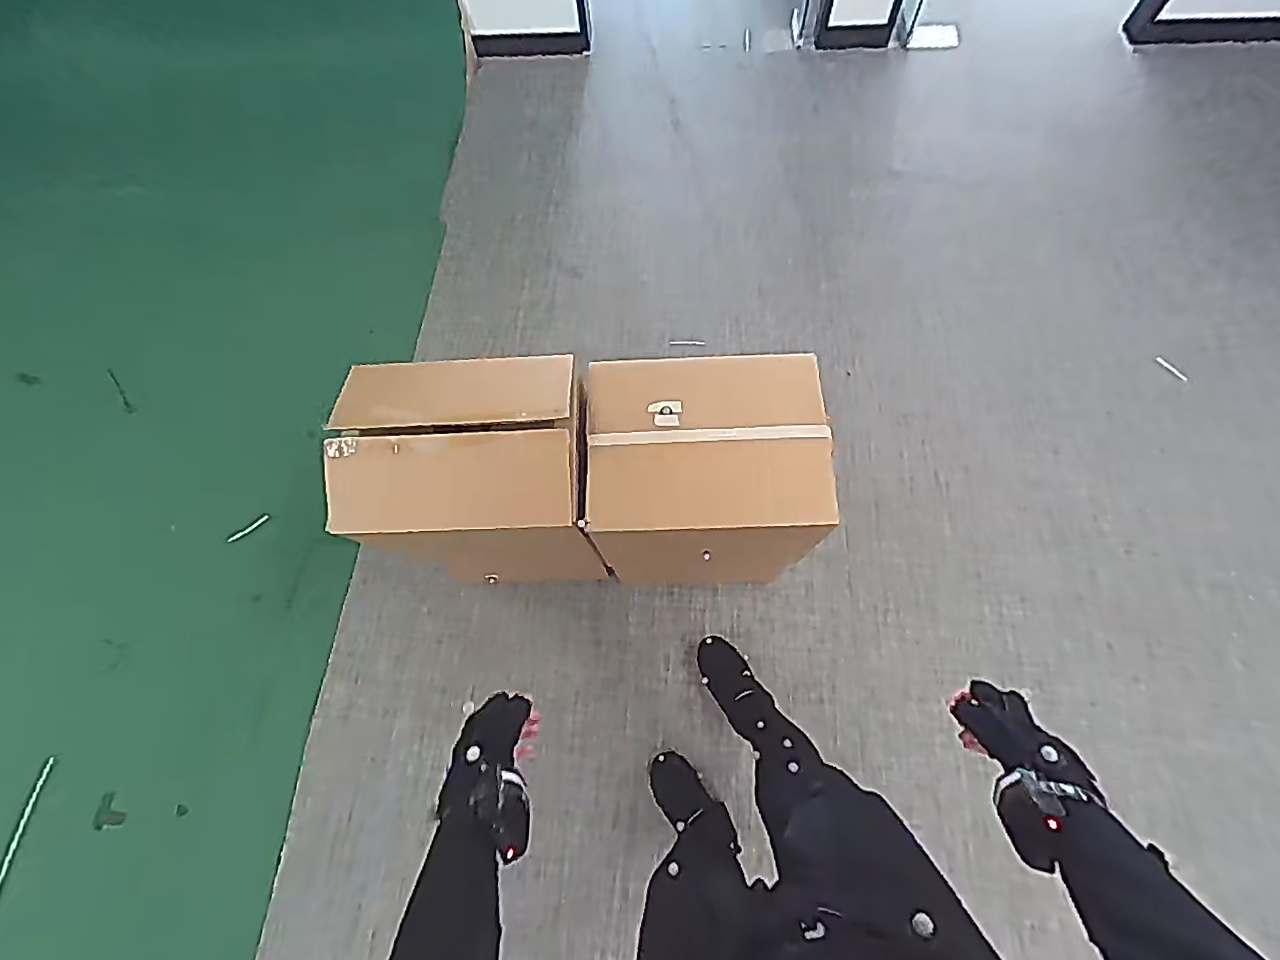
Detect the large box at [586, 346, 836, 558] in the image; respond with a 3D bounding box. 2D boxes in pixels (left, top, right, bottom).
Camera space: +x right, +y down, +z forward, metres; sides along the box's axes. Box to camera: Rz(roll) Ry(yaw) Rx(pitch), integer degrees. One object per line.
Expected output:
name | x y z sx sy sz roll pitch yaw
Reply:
large box | 0.120 -0.032 1.046 0.408 0.320 0.320 -2 70 4
